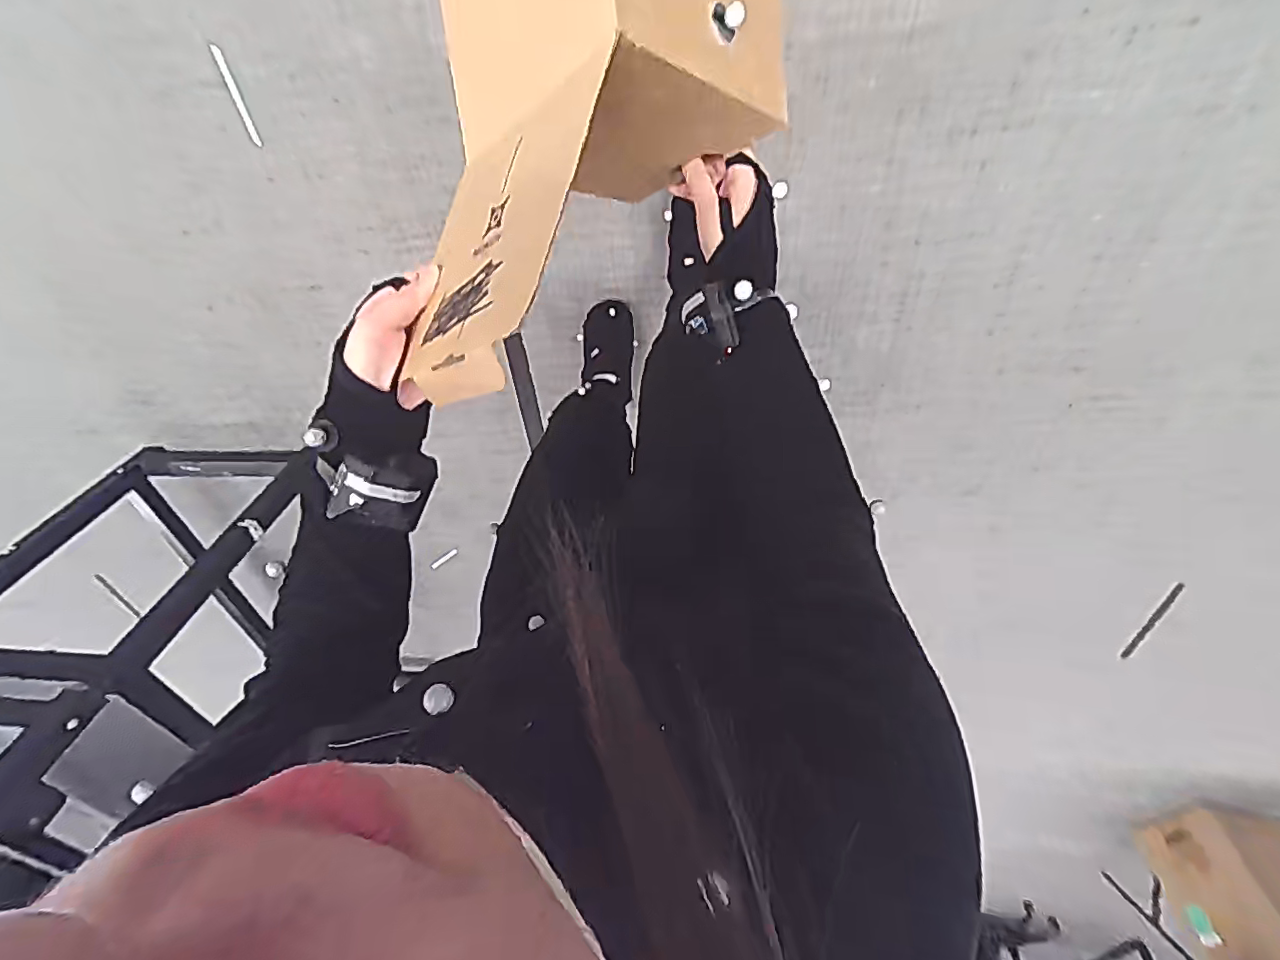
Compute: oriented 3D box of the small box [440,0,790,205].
[{"bbox_3d":[-0.017,-0.316,0.368,0.168,0.179,0.176,0,99,45],"label":"small box"}]
